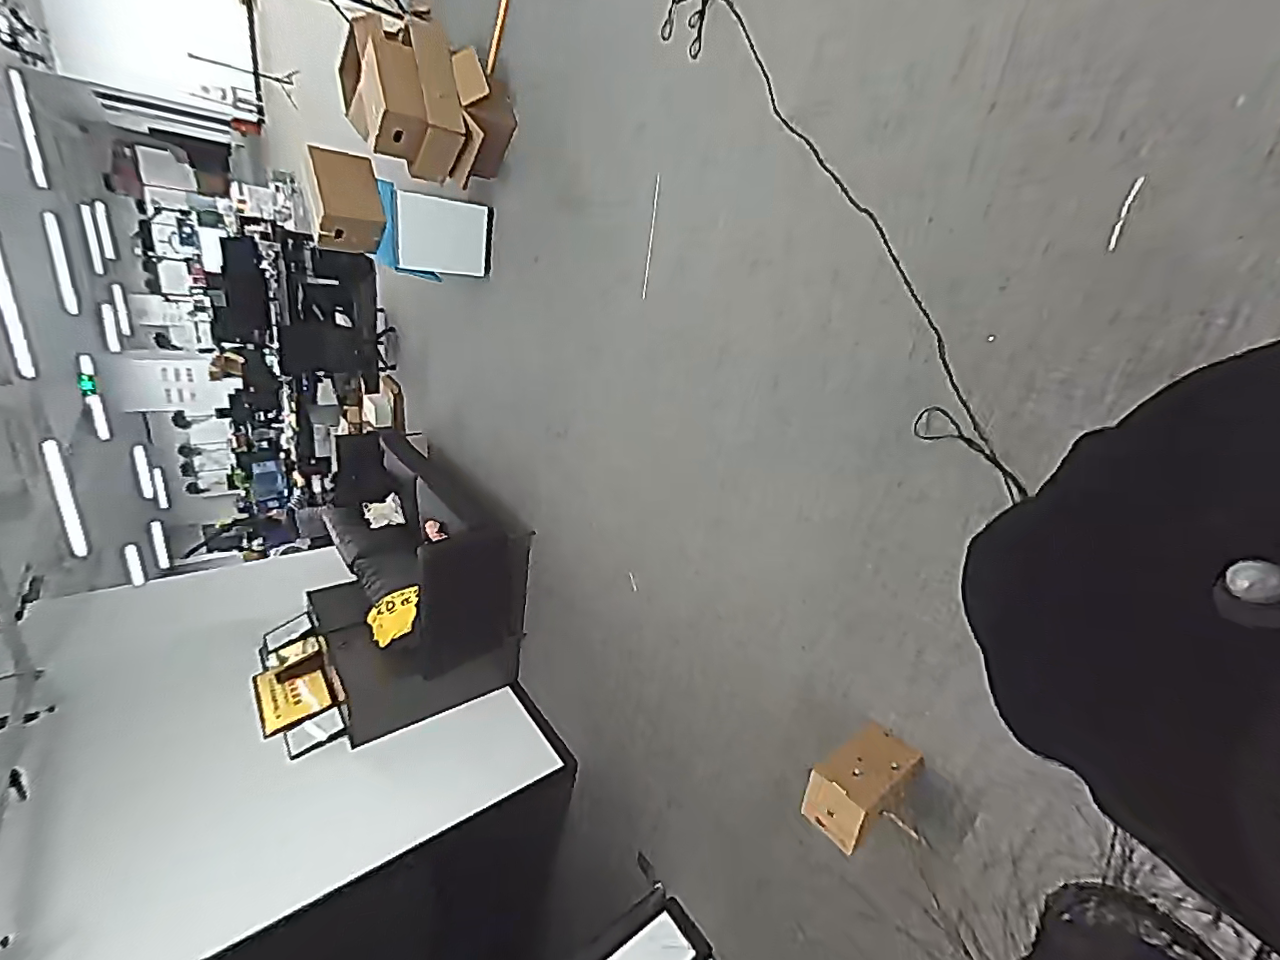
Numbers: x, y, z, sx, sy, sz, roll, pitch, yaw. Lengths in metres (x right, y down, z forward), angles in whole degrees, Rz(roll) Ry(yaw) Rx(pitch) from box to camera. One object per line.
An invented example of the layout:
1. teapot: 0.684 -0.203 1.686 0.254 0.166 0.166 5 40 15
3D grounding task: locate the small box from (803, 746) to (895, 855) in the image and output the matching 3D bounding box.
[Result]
1. small box: 0.600 0.905 1.546 0.168 0.176 0.179 29 120 46
